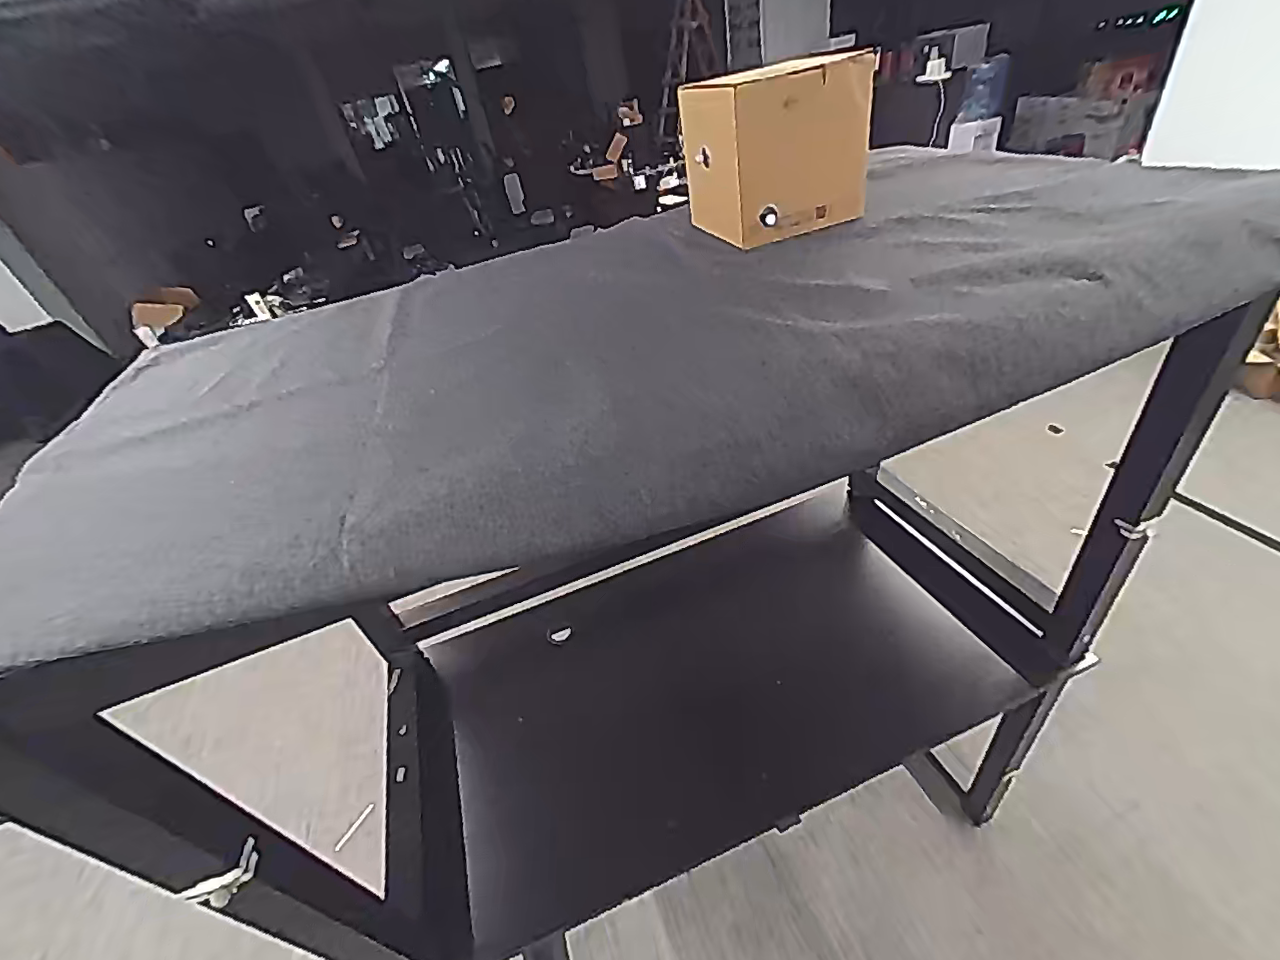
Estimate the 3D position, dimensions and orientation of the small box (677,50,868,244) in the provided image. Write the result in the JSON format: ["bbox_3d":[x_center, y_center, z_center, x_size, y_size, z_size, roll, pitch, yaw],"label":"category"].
[{"bbox_3d":[0.162,-0.412,0.680,0.168,0.176,0.179,-18,37,-7],"label":"small box"}]
